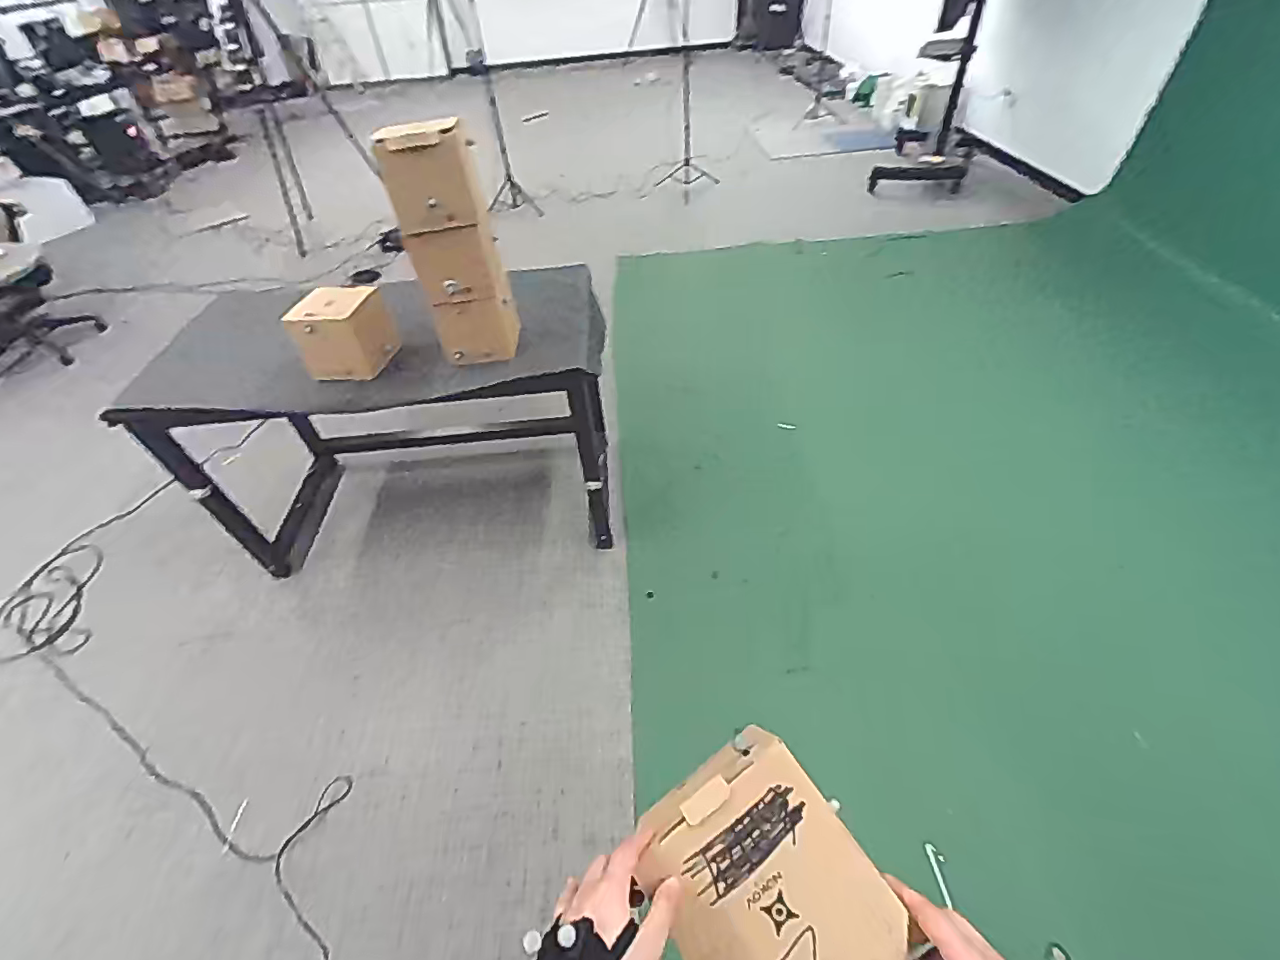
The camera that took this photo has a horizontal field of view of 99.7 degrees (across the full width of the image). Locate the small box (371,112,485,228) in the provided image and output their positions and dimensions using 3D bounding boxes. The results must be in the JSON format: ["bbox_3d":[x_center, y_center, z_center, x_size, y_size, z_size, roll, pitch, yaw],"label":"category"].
[{"bbox_3d":[-0.432,-0.648,1.133,0.168,0.176,0.179,-11,44,-3],"label":"small box"}]

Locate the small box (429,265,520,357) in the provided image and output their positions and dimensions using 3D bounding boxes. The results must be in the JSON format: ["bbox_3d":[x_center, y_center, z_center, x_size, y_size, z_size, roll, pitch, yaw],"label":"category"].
[{"bbox_3d":[-0.408,-0.422,1.370,0.168,0.176,0.179,-5,43,1],"label":"small box"}]

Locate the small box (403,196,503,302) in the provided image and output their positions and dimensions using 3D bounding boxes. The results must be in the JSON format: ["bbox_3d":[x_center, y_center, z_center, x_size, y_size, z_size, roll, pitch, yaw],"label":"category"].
[{"bbox_3d":[-0.421,-0.536,1.254,0.168,0.176,0.179,-9,45,-1],"label":"small box"}]

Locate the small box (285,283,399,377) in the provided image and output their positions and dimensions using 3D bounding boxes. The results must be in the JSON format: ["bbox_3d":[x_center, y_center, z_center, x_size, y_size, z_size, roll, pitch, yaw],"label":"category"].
[{"bbox_3d":[-0.735,-0.379,1.360,0.168,0.176,0.179,1,44,7],"label":"small box"}]
